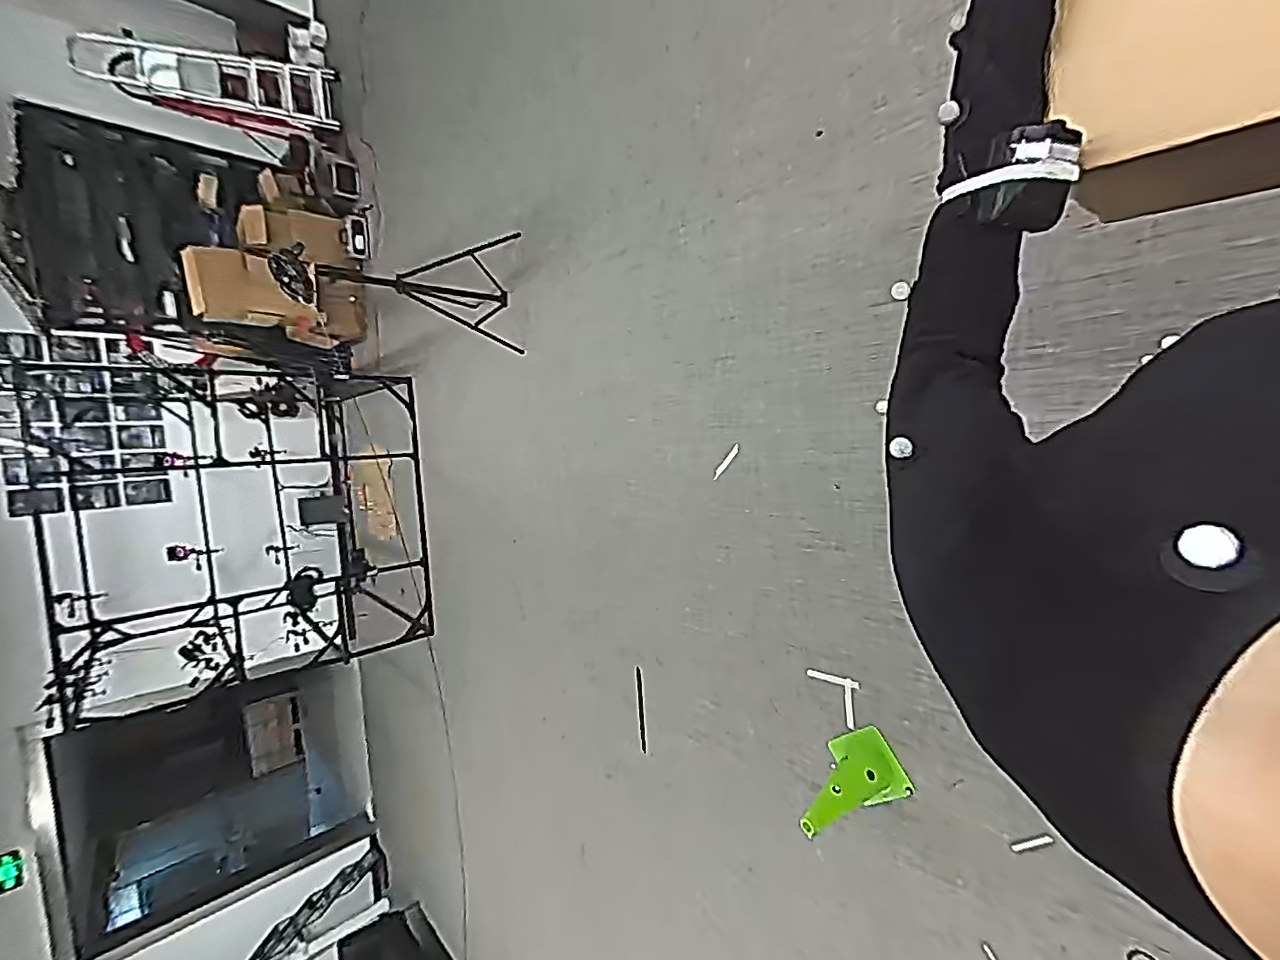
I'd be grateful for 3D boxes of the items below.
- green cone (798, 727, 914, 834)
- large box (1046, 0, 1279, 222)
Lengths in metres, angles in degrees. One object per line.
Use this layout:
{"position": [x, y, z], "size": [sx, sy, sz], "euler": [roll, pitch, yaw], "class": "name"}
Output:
{"position": [0.563, 0.874, 1.514], "size": [0.202, 0.368, 0.200], "euler": [-51, 58, 41], "class": "green cone"}
{"position": [0.534, -0.400, 0.345], "size": [0.408, 0.320, 0.320], "euler": [5, 105, 46], "class": "large box"}
